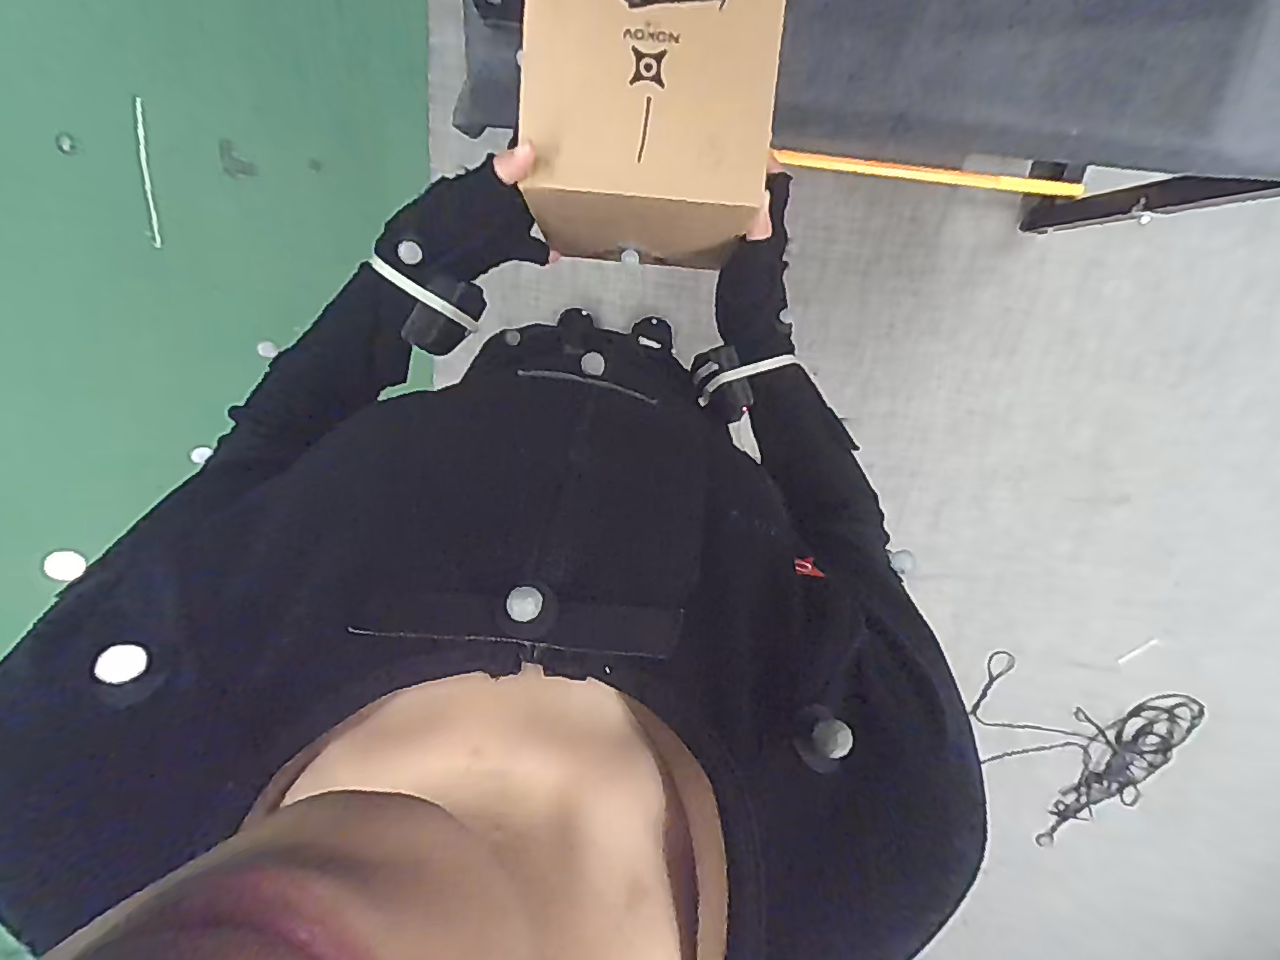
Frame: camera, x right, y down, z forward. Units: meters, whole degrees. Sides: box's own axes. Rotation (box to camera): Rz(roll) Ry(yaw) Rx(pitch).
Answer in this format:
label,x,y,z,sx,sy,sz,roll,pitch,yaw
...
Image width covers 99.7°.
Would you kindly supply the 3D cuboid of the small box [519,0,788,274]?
label,x,y,z,sx,sy,sz,roll,pitch,yaw
small box,0.008,-0.280,0.424,0.168,0.176,0.179,5,96,-1
